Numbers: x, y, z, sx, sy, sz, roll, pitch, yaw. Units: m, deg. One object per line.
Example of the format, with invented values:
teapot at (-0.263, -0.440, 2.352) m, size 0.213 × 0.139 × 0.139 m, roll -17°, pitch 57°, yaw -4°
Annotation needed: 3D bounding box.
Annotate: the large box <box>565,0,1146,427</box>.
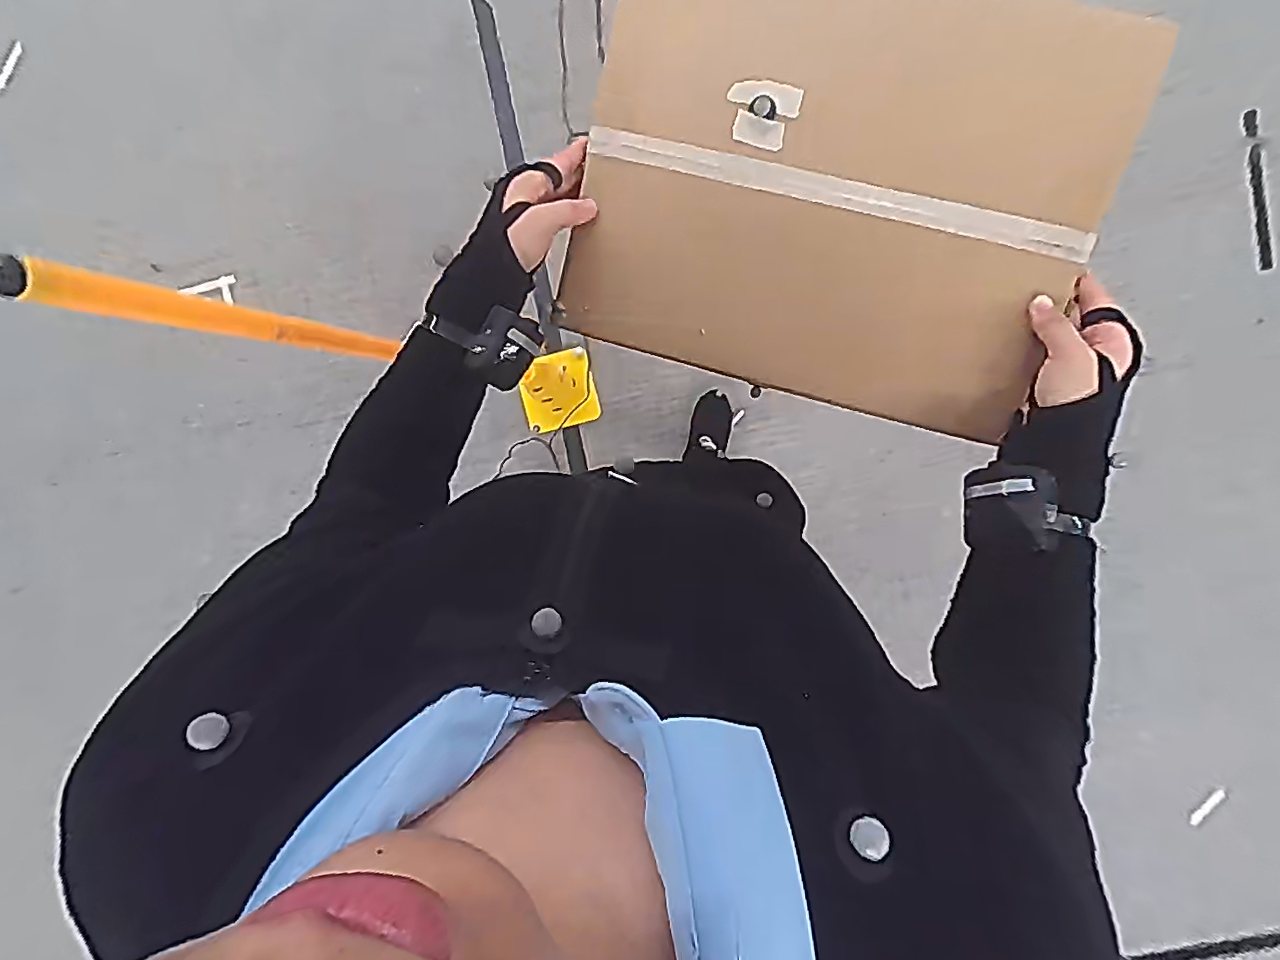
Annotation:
large box at (0.179, -0.265, 0.599) m, size 0.408 × 0.320 × 0.320 m, roll 16°, pitch 102°, yaw 7°
